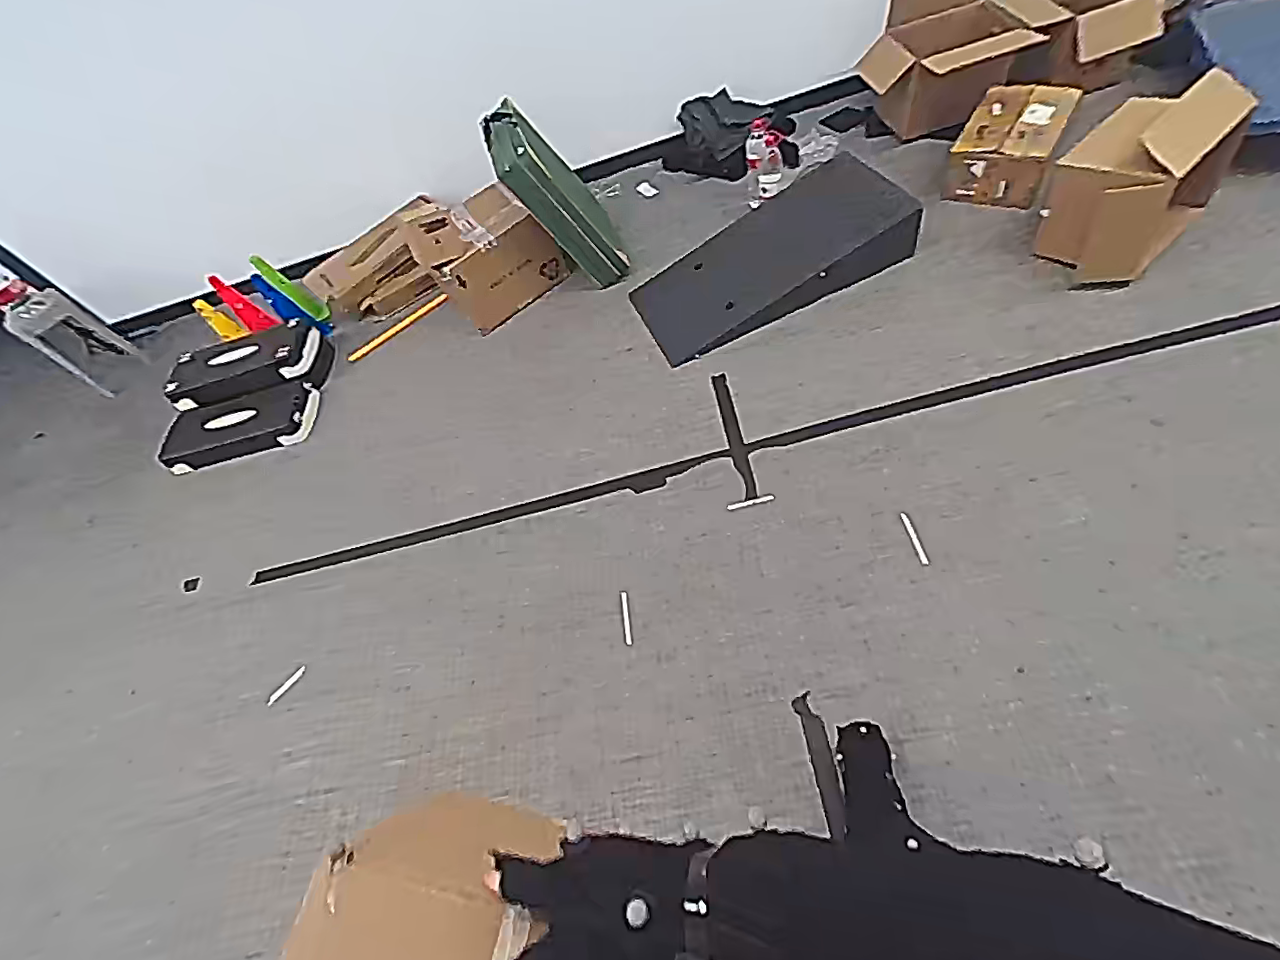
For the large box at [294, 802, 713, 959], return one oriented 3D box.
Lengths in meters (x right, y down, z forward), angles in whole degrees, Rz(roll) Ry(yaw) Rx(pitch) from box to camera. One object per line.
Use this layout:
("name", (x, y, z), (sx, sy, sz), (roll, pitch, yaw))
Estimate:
("large box", (-0.134, 0.556, 0.472), (0.320, 0.320, 0.408), (12, 65, 2))
